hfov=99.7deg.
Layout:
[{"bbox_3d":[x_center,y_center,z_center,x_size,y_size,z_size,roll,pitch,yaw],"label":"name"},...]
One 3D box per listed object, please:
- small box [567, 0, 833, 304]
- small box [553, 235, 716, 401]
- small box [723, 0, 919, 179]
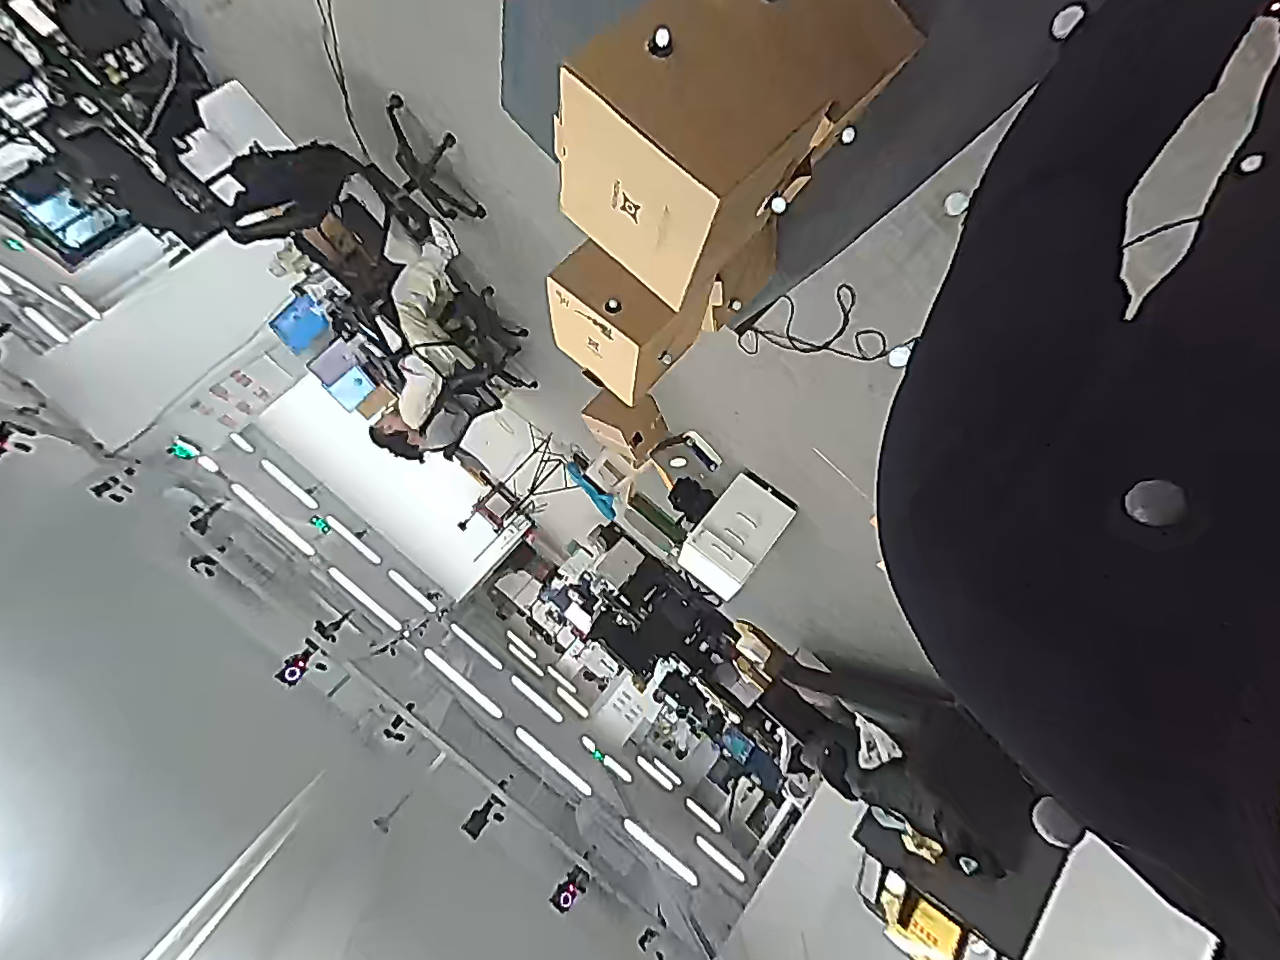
[{"bbox_3d":[0.048,-0.321,0.533,0.179,0.176,0.168,41,165,3],"label":"small box"},{"bbox_3d":[-0.006,-0.258,0.810,0.168,0.176,0.179,39,164,9],"label":"small box"},{"bbox_3d":[0.151,-0.436,0.582,0.179,0.176,0.168,45,164,-7],"label":"small box"}]
